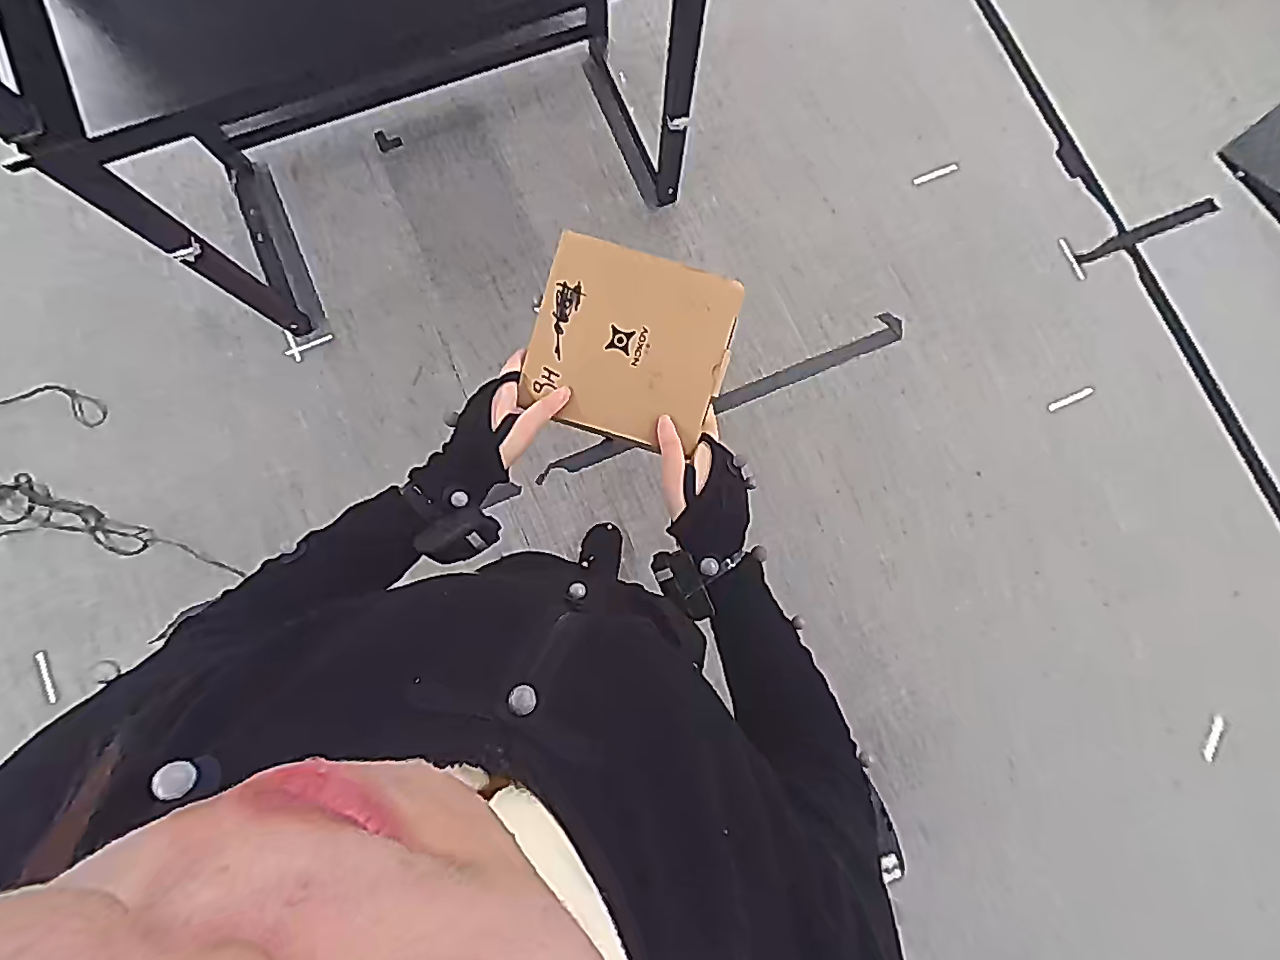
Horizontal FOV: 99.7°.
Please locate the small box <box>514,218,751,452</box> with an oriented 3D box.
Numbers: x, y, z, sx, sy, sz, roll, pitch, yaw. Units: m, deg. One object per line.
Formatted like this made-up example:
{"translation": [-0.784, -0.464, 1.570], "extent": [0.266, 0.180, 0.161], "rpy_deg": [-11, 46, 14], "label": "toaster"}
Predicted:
{"translation": [-0.008, -0.132, 0.559], "extent": [0.179, 0.176, 0.168], "rpy_deg": [17, 91, -1], "label": "small box"}
